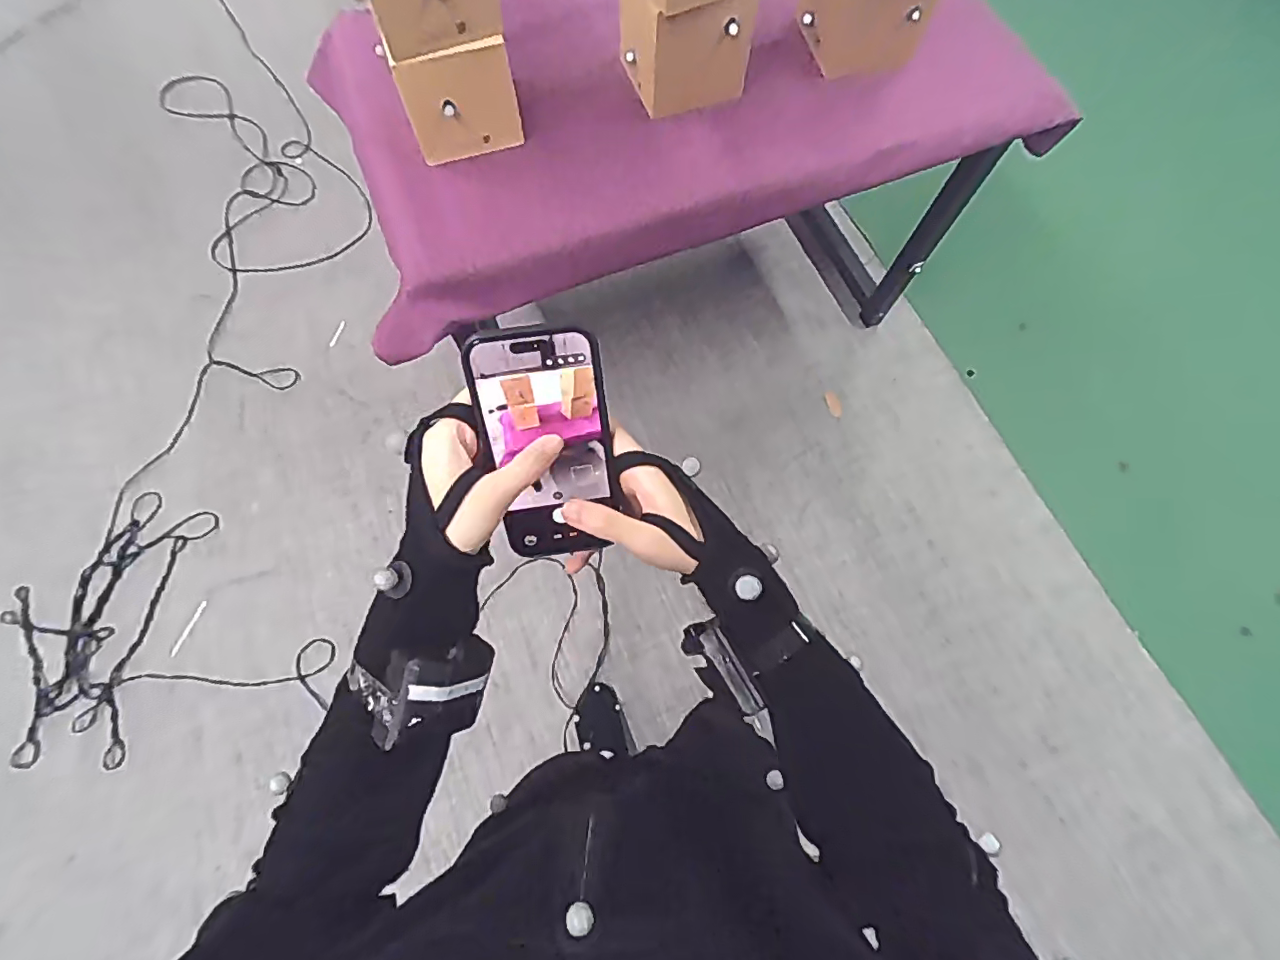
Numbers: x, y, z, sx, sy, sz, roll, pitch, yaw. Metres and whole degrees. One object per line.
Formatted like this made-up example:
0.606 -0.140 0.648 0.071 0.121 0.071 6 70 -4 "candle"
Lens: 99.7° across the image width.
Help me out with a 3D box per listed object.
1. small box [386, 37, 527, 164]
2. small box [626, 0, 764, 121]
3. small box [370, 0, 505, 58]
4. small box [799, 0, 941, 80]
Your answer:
-0.293 -0.643 0.870 0.168 0.176 0.179 -18 72 -7 "small box"
0.080 -0.751 0.908 0.179 0.176 0.168 -19 72 -7 "small box"
-0.295 -0.703 0.717 0.168 0.176 0.179 -23 73 -9 "small box"
0.405 -0.848 0.946 0.179 0.176 0.168 -13 71 -5 "small box"
